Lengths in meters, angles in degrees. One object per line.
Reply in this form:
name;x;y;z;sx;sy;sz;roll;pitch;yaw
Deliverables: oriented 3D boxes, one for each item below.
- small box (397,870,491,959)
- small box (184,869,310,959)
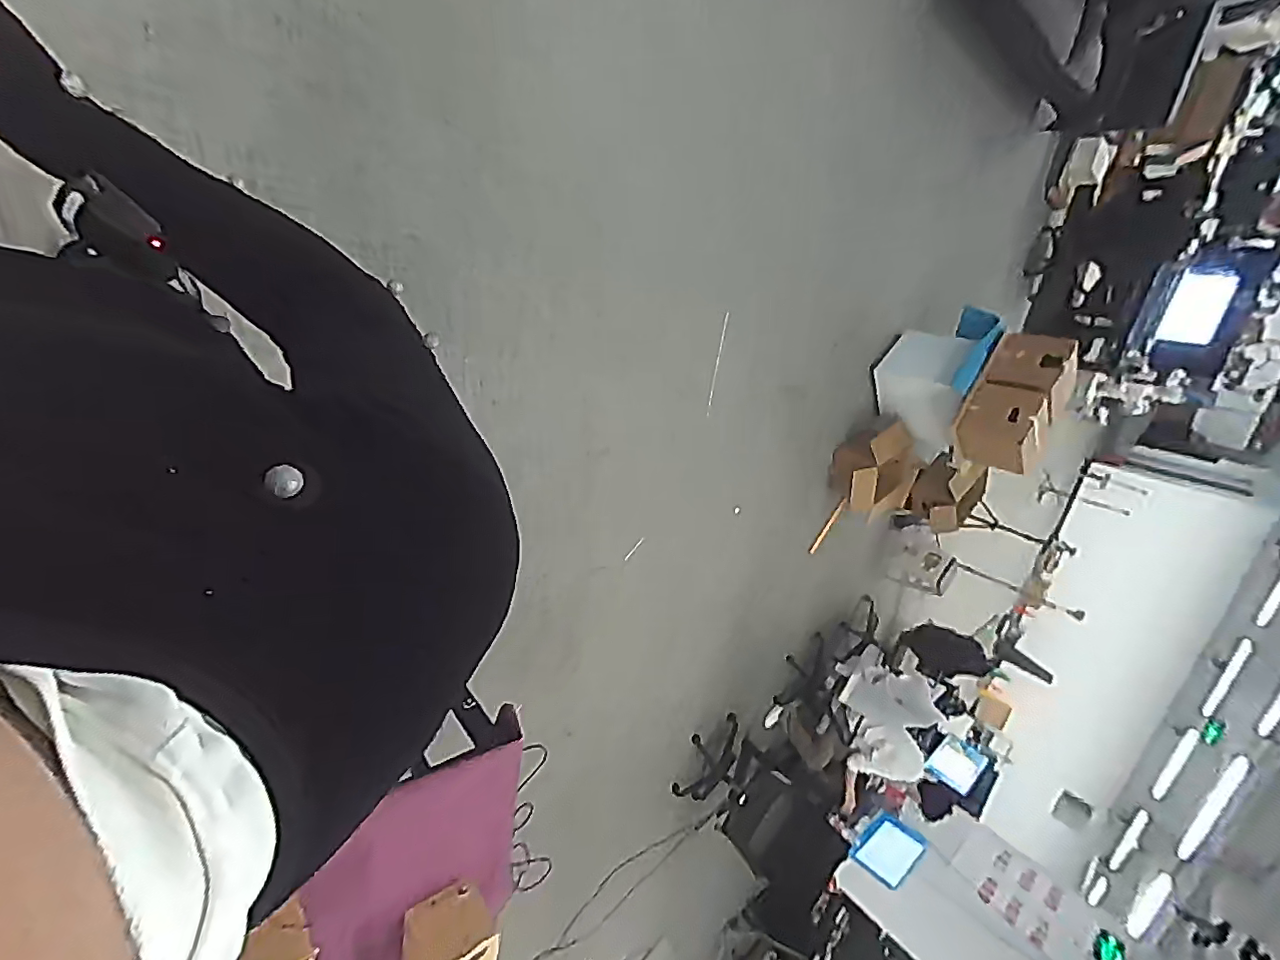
small box;-0.489;1.117;1.338;0.168;0.176;0.179;-6;114;-43
small box;-0.718;0.874;0.987;0.168;0.176;0.179;-5;115;-43
